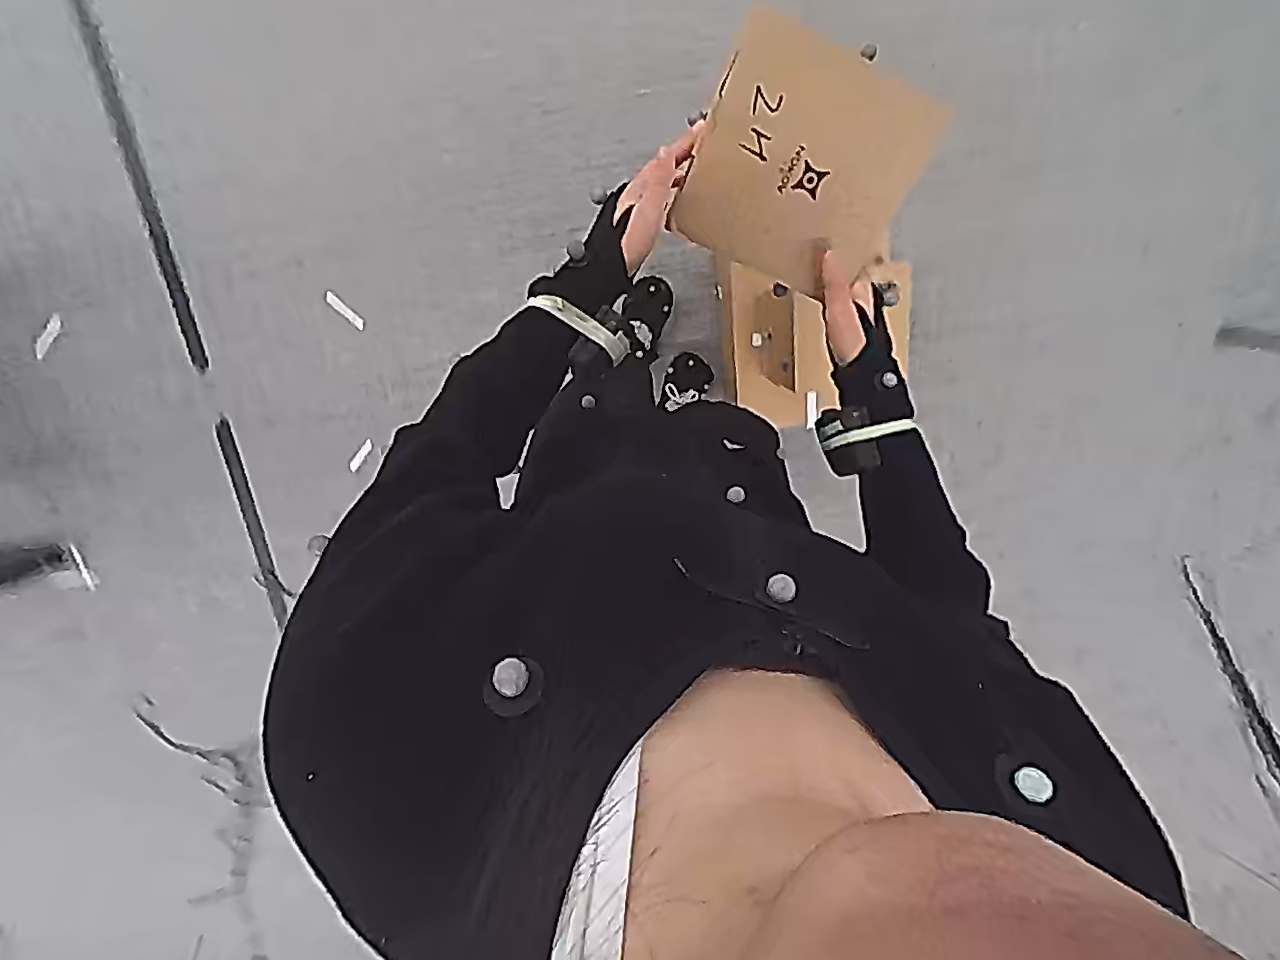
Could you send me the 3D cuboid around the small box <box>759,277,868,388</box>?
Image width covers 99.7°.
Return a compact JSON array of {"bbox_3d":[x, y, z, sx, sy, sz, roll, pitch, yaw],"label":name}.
[{"bbox_3d":[0.323,-0.278,1.028,0.168,0.176,0.179,-6,106,7],"label":"small box"}]
